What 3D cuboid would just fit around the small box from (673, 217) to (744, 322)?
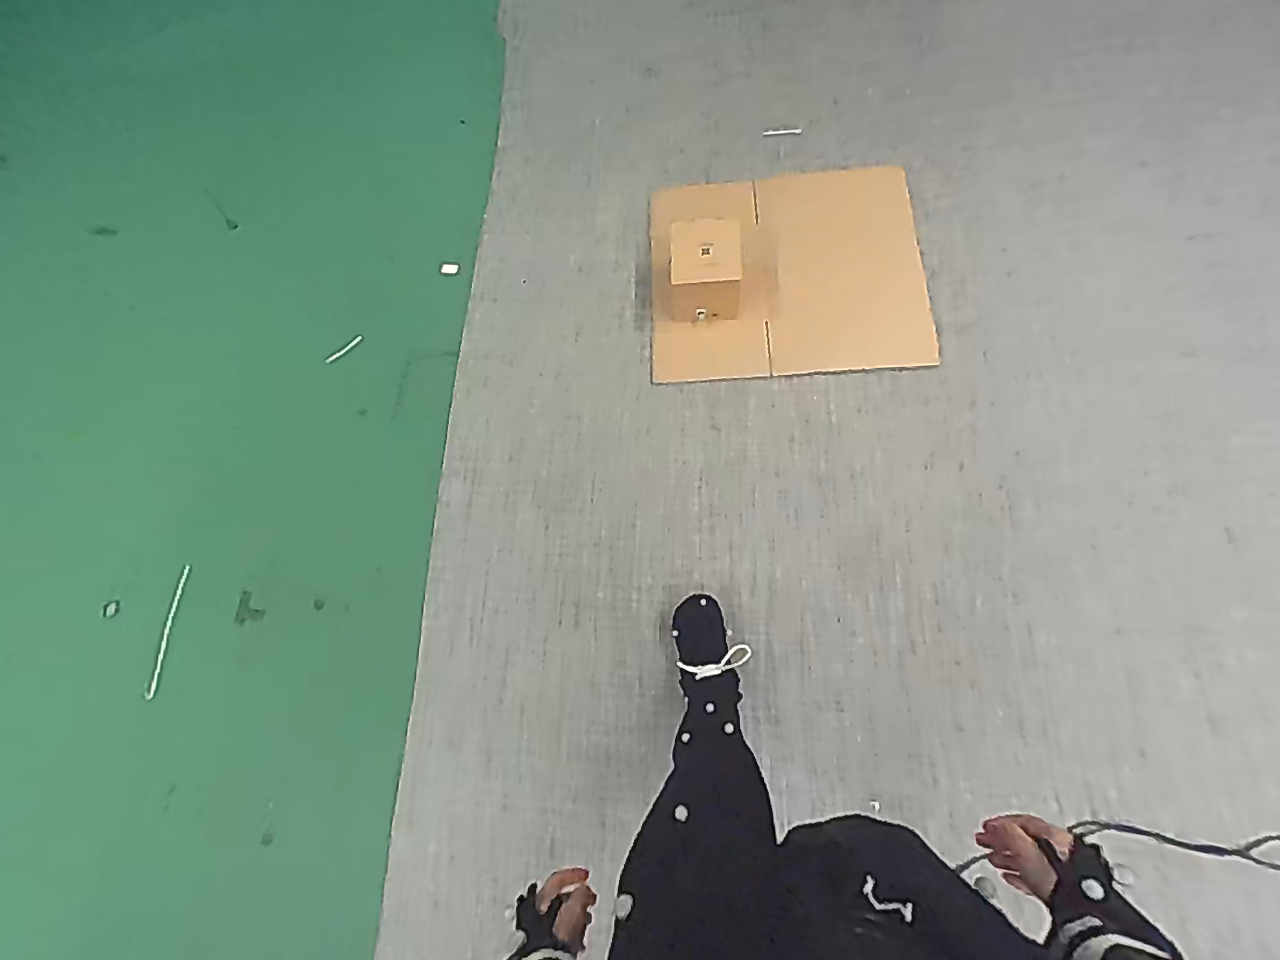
[{"bbox_3d":[0.167,-0.518,1.346,0.168,0.176,0.179,-2,74,7],"label":"small box"}]
